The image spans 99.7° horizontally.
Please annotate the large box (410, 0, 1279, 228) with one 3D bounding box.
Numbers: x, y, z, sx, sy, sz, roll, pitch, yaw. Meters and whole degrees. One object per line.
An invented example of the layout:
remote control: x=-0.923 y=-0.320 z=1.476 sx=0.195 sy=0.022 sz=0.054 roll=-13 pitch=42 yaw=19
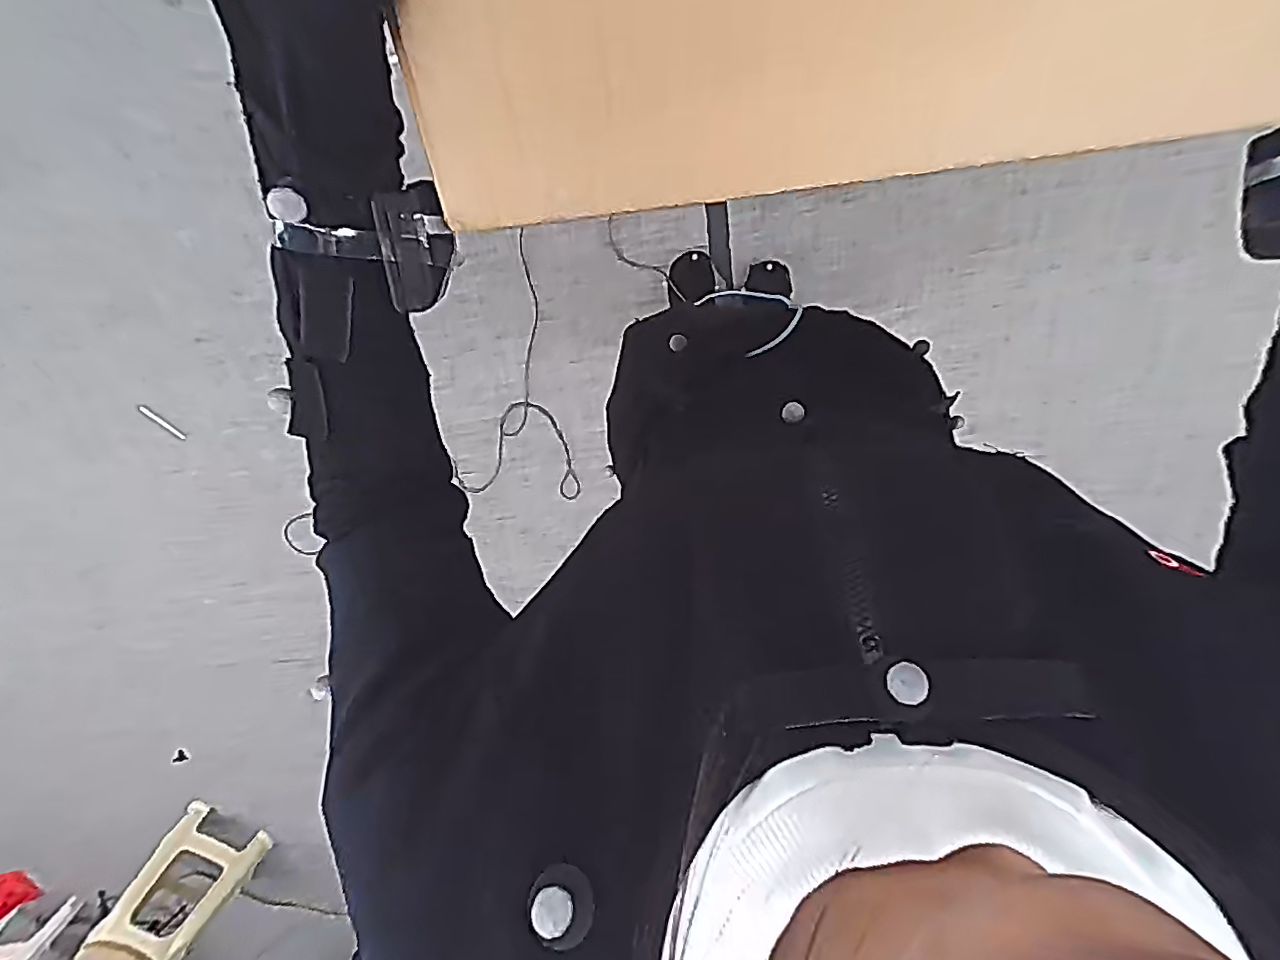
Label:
large box: x=0.087 y=-0.362 z=0.324 sx=0.408 sy=0.320 sz=0.320 roll=-5 pitch=121 yaw=6
